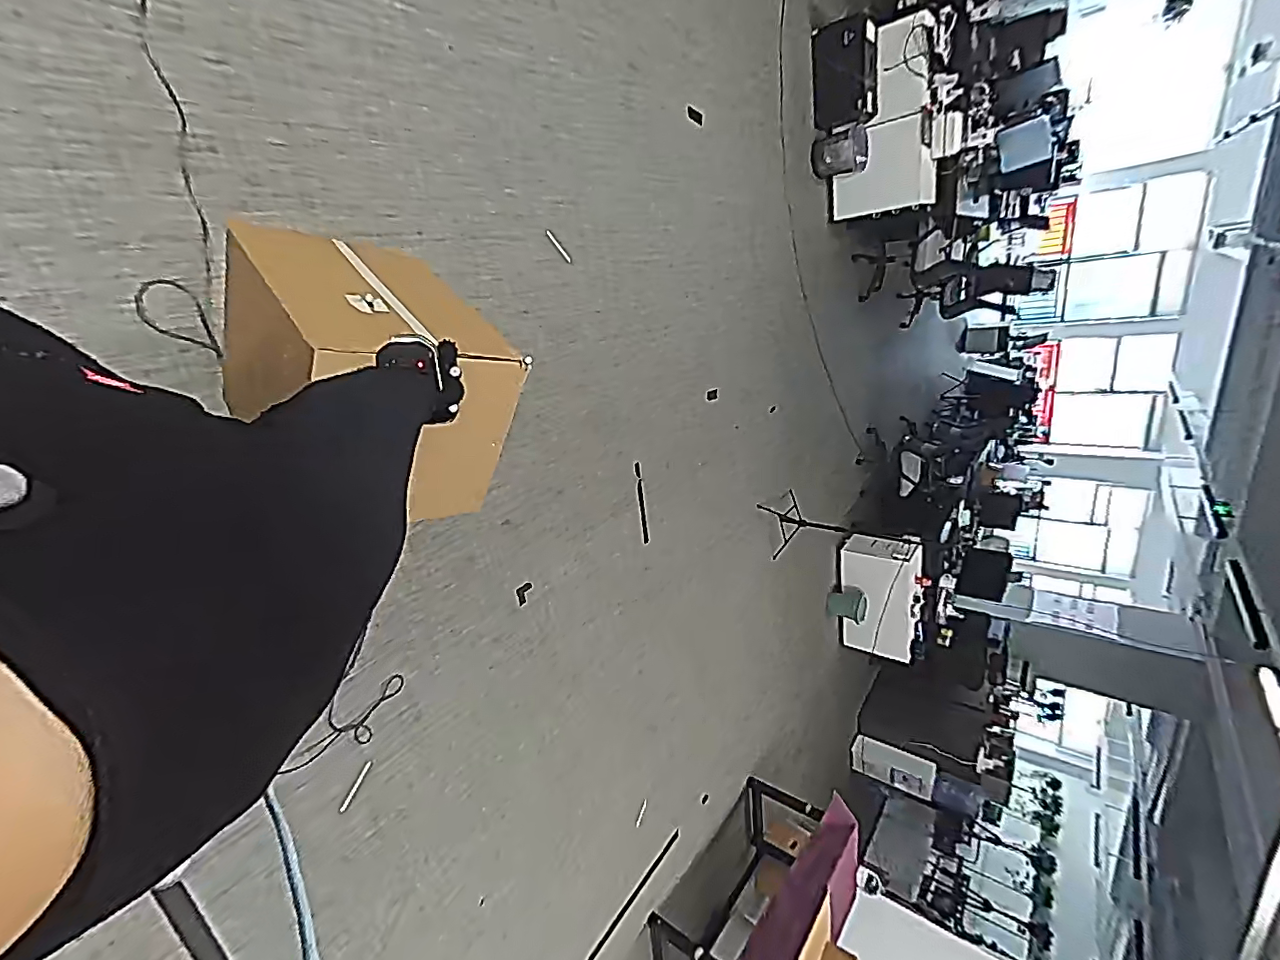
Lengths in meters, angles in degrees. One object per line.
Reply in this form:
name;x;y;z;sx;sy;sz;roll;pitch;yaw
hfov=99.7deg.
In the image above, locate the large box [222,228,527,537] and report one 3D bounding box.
large box;-0.471;-0.166;0.928;0.320;0.408;0.320;-10;136;-48
